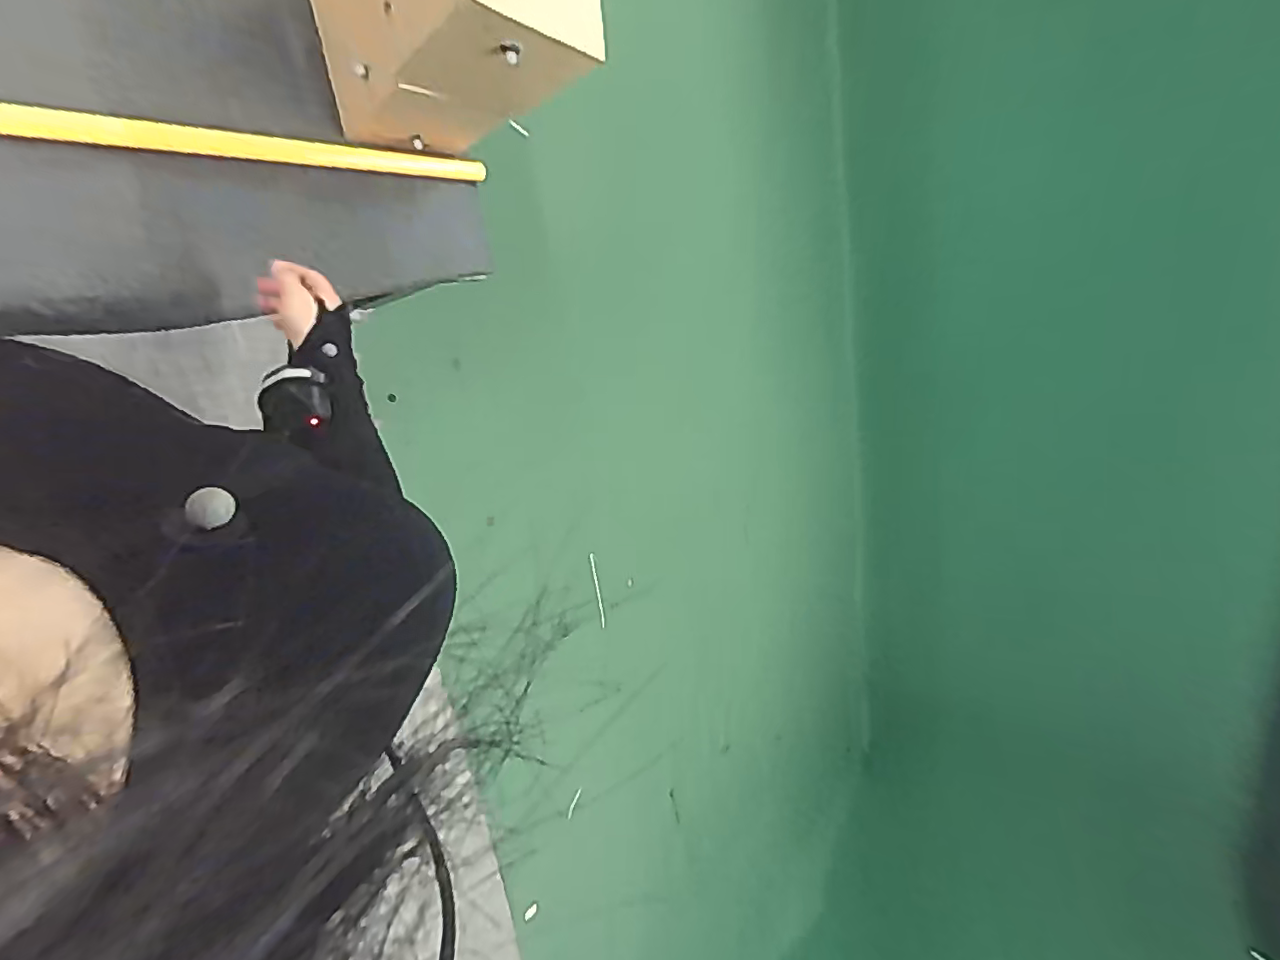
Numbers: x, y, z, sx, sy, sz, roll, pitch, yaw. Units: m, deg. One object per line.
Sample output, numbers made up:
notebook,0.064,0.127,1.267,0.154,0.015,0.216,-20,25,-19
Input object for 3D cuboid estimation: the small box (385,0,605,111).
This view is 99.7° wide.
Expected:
small box,-0.163,-0.532,0.579,0.179,0.176,0.168,-18,107,-45
